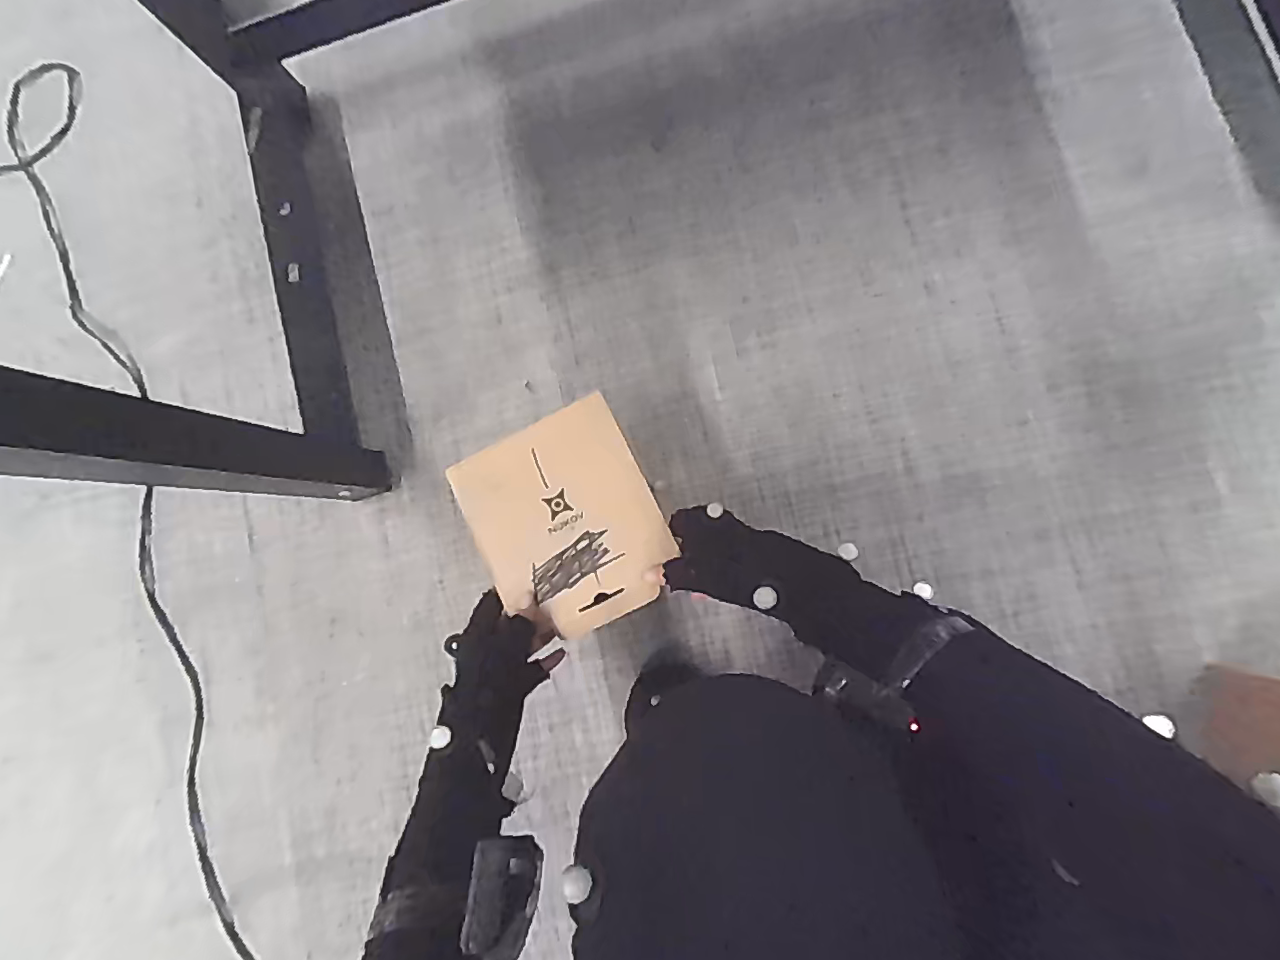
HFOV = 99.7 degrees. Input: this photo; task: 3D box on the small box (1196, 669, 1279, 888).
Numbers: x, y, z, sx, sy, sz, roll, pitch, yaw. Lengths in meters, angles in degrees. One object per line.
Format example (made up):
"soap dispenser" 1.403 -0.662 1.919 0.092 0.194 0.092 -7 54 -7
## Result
"small box" 0.639 0.279 0.464 0.168 0.176 0.179 5 84 5
